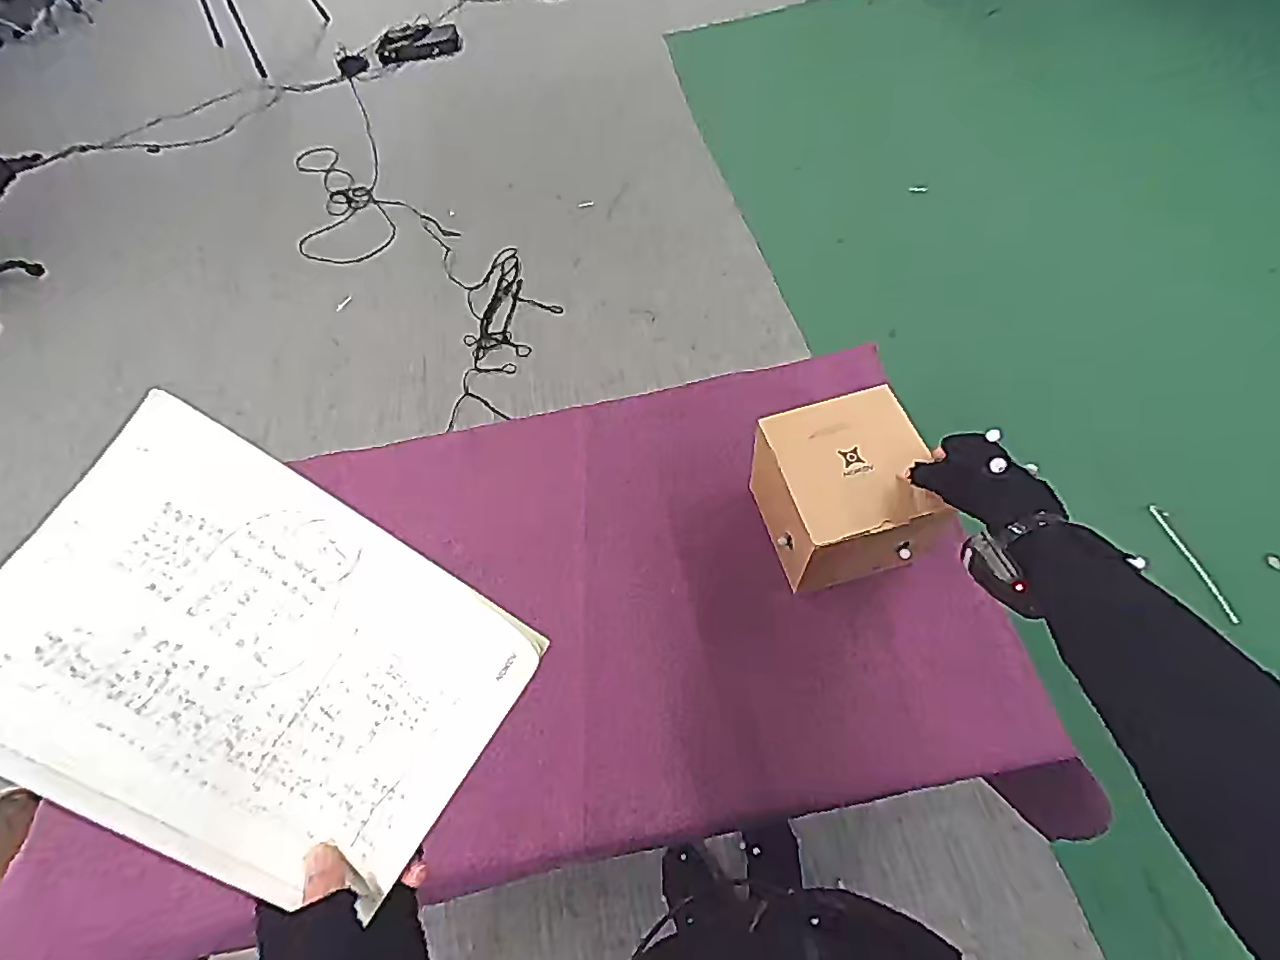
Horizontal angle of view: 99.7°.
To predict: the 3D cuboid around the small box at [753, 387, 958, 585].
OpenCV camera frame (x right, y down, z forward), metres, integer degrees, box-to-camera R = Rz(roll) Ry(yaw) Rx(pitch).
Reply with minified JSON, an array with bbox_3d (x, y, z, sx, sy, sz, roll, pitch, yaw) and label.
[{"bbox_3d":[0.249,0.019,0.677,0.168,0.176,0.179,-15,59,-1],"label":"small box"}]
